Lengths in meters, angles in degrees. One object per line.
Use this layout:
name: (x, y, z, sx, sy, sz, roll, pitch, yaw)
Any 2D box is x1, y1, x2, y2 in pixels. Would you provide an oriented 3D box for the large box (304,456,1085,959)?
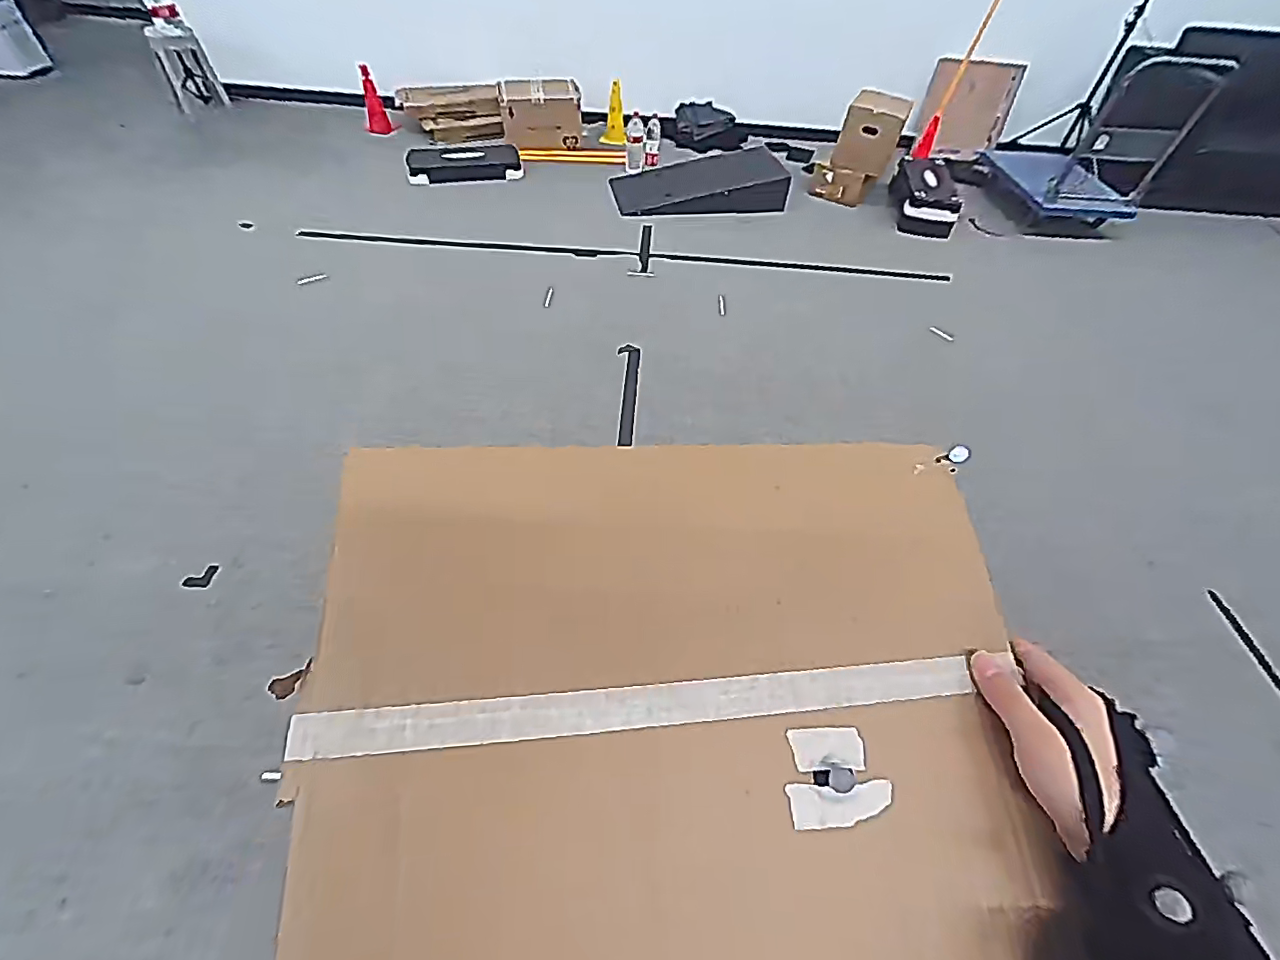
large box: (0.009, 0.187, 0.447, 0.408, 0.320, 0.320, -1, 68, -11)
